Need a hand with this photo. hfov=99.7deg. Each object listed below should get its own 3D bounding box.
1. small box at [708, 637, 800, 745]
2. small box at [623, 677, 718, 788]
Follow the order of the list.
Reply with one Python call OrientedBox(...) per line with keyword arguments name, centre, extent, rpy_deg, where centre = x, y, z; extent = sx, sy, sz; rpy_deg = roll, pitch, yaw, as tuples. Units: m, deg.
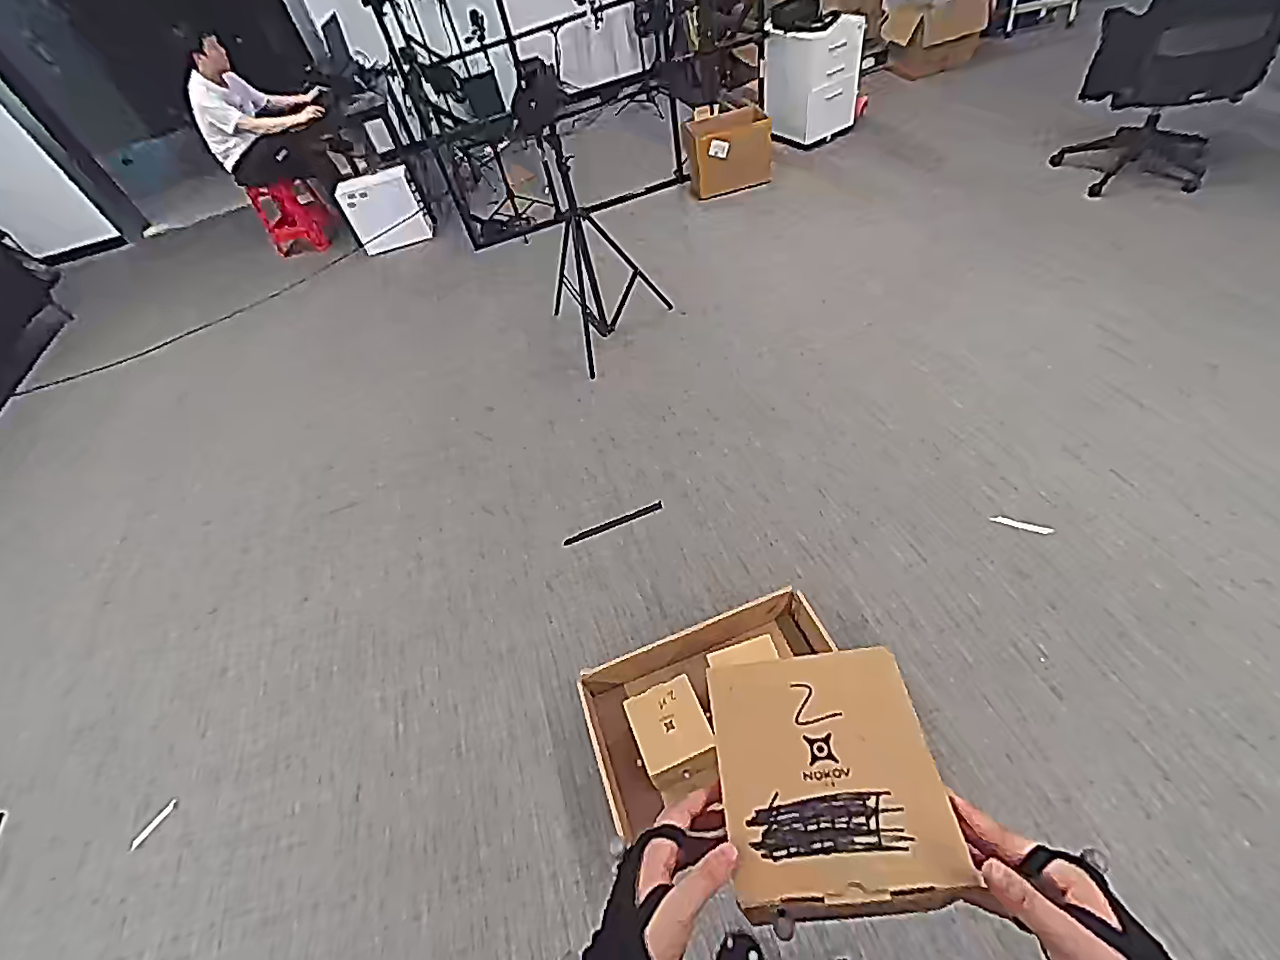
OrientedBox(name="small box", centre=(0.273, 0.515, 1.315), extent=(0.168, 0.176, 0.179), rpy_deg=(-17, 49, -1))
OrientedBox(name="small box", centre=(0.076, 0.604, 1.281), extent=(0.168, 0.176, 0.179), rpy_deg=(-21, 49, -8))
